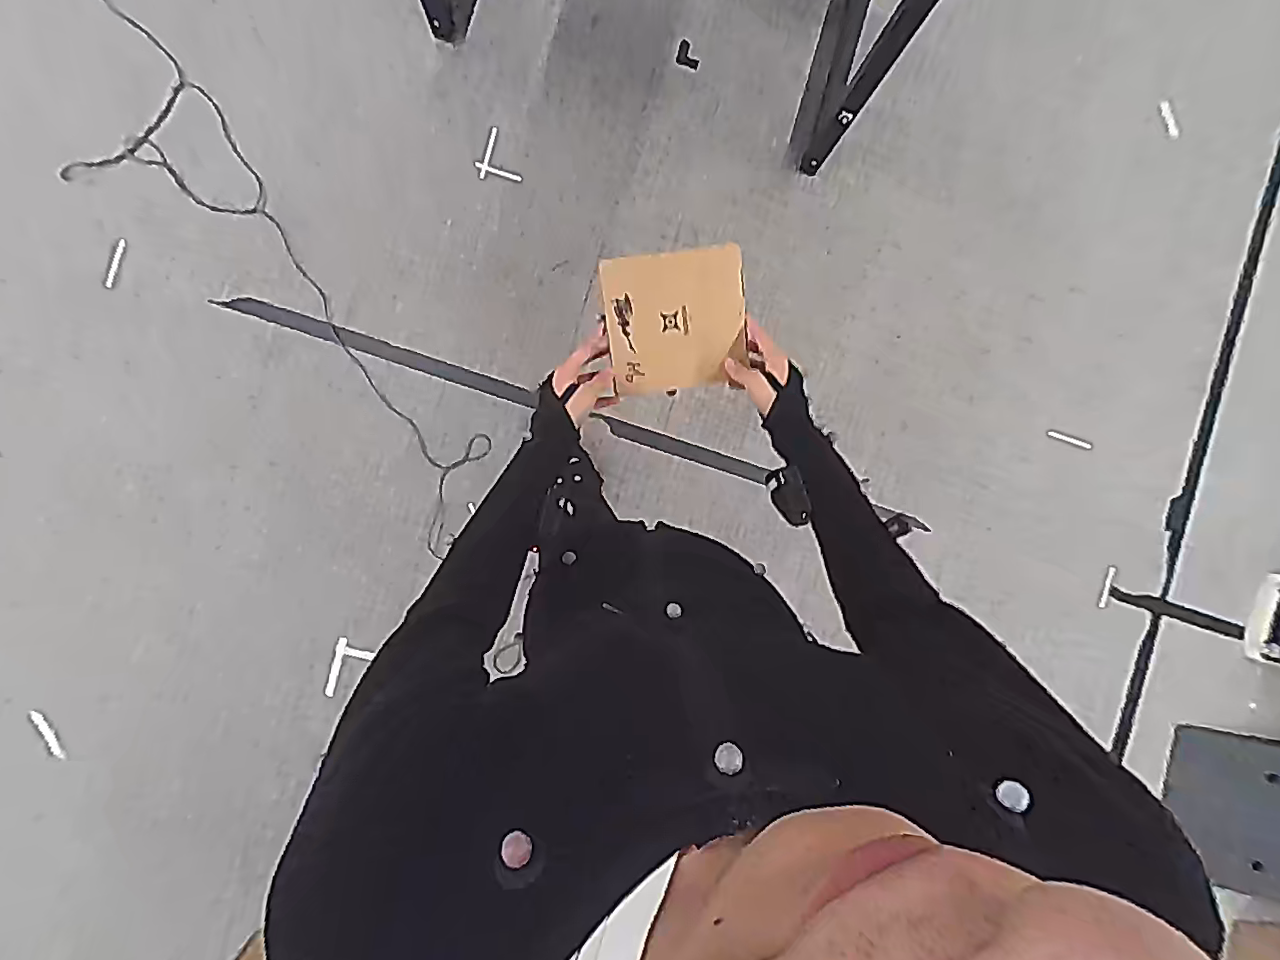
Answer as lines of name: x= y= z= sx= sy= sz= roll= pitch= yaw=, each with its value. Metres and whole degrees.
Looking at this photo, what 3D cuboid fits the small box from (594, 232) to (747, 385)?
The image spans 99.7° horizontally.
small box: x=0.034 y=-0.226 z=0.736 sx=0.179 sy=0.176 sz=0.168 roll=-8 pitch=103 yaw=-3
